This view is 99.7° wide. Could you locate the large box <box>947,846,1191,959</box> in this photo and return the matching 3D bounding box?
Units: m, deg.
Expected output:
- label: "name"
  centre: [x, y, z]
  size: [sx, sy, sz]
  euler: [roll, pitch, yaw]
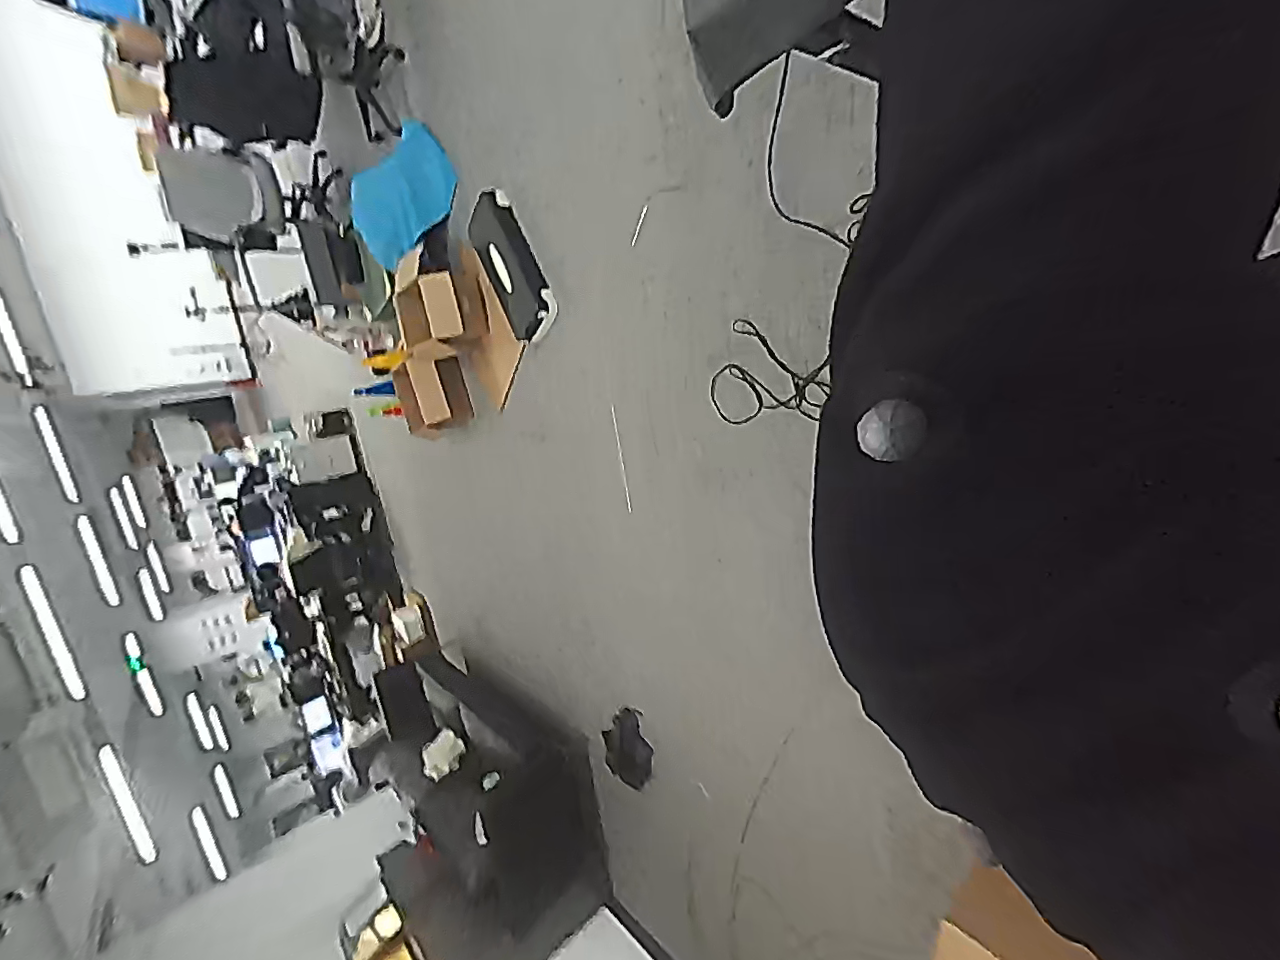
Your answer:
- label: "large box"
  centre: [1.001, 1.204, 1.280]
  size: [0.408, 0.320, 0.320]
  euler: [16, 116, 48]
